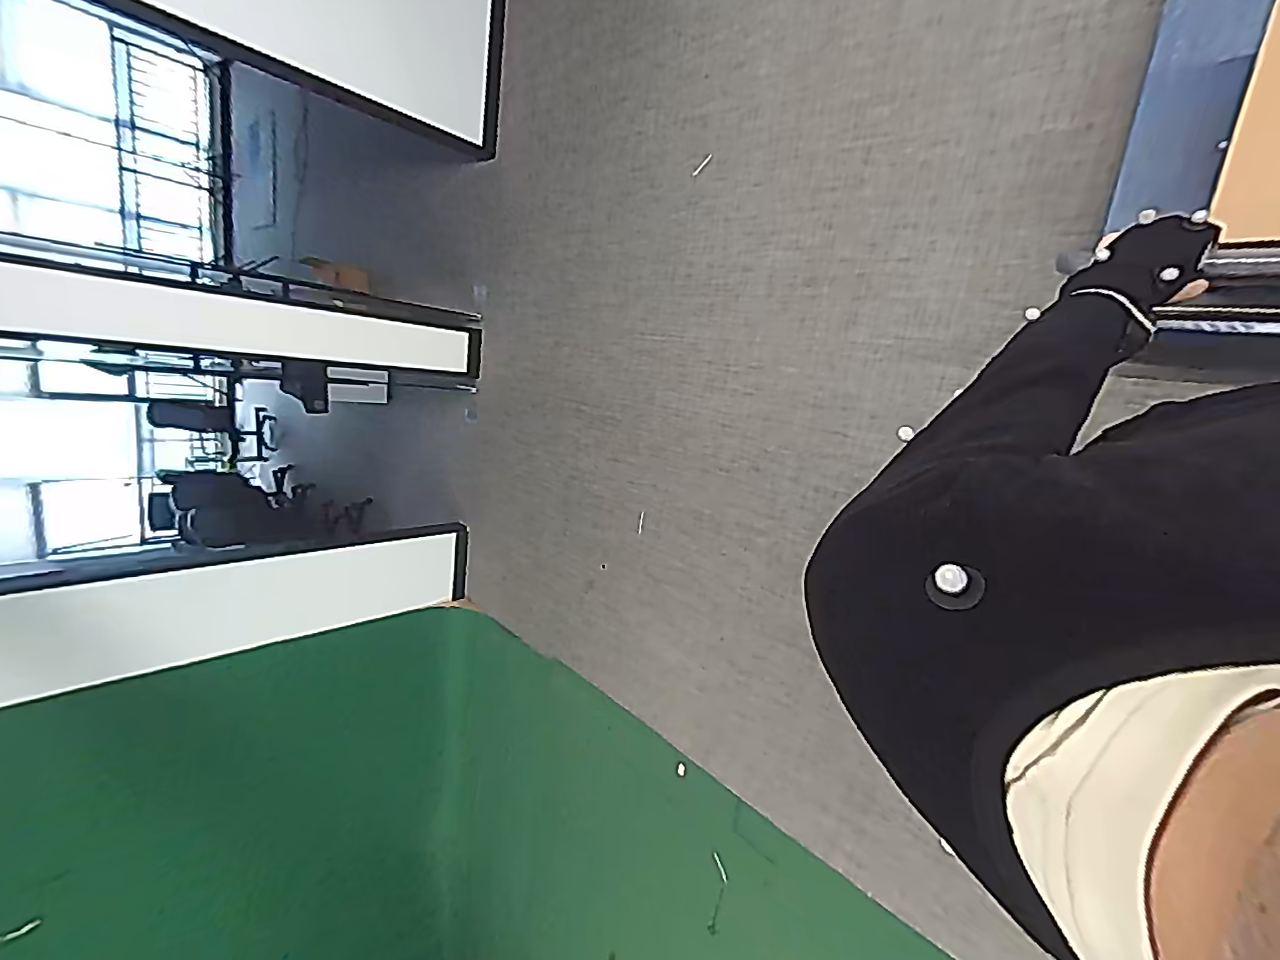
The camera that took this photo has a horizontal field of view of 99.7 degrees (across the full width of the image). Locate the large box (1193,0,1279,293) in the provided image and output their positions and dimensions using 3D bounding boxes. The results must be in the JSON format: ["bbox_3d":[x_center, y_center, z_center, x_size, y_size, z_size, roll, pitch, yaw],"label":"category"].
[{"bbox_3d":[1.087,-0.519,0.800,0.320,0.320,0.408,17,103,41],"label":"large box"}]
